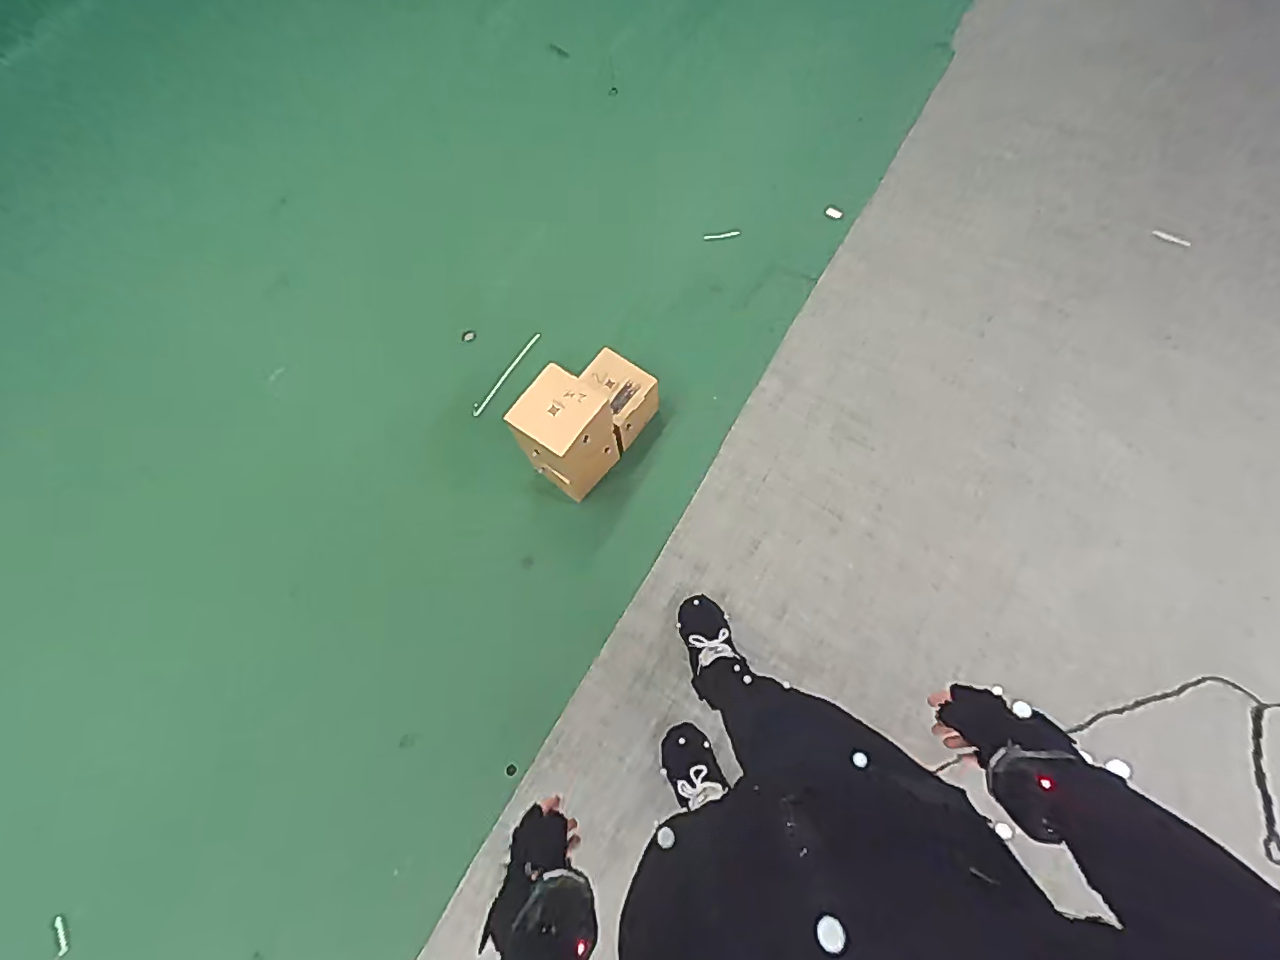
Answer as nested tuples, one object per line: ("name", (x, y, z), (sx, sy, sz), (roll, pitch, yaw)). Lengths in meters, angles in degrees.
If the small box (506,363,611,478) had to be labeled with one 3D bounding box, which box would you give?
("small box", (-0.179, -0.131, 1.265), (0.168, 0.176, 0.179), (33, 74, 12))
